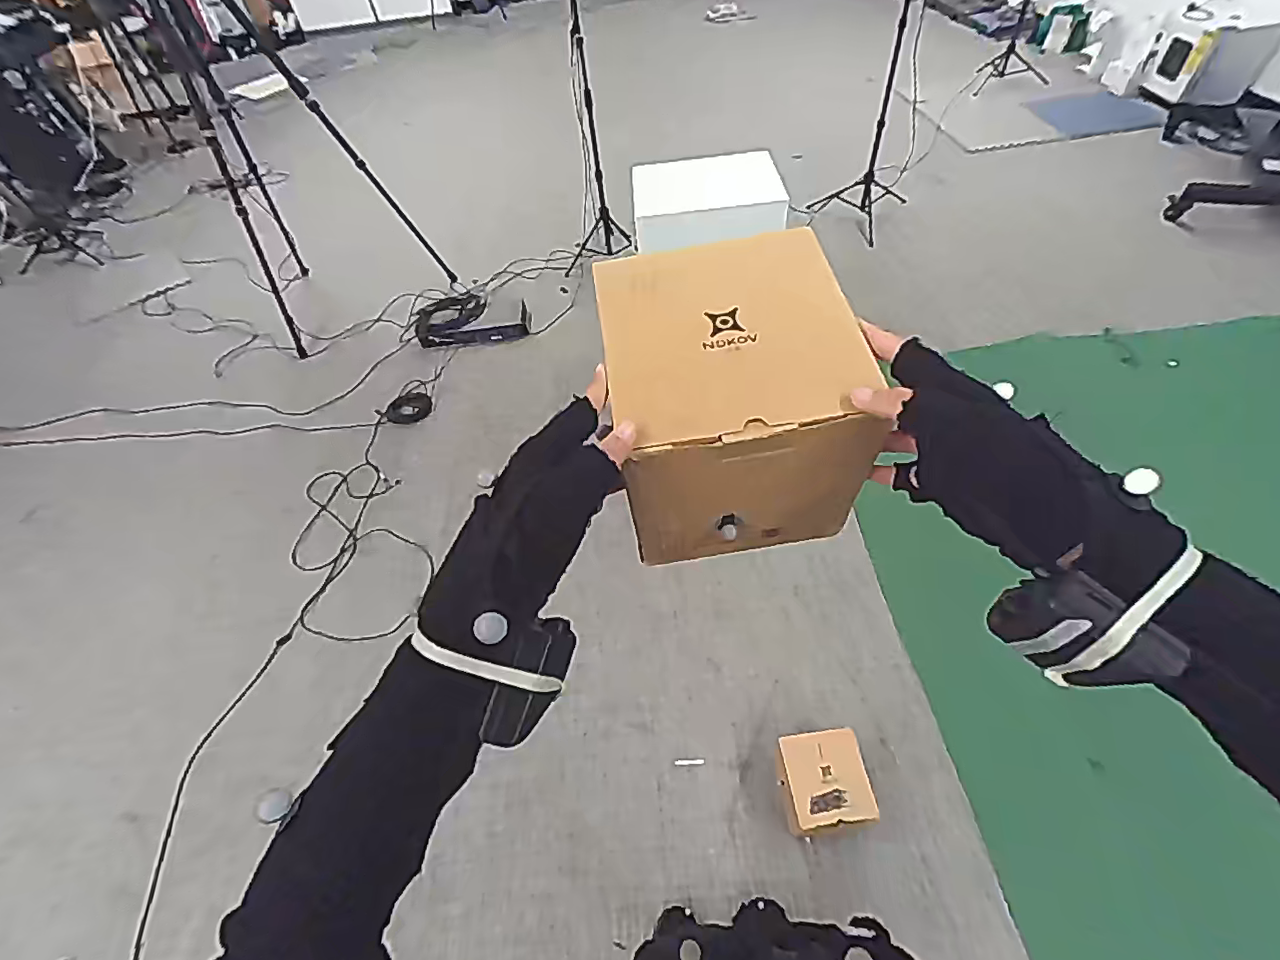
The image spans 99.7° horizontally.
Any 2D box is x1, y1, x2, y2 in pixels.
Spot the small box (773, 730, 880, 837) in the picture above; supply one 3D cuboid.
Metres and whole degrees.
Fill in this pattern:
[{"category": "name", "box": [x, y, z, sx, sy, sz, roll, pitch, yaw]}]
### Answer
[{"category": "small box", "box": [0.398, 0.671, 1.187, 0.168, 0.176, 0.179, -8, 51, 0]}]
